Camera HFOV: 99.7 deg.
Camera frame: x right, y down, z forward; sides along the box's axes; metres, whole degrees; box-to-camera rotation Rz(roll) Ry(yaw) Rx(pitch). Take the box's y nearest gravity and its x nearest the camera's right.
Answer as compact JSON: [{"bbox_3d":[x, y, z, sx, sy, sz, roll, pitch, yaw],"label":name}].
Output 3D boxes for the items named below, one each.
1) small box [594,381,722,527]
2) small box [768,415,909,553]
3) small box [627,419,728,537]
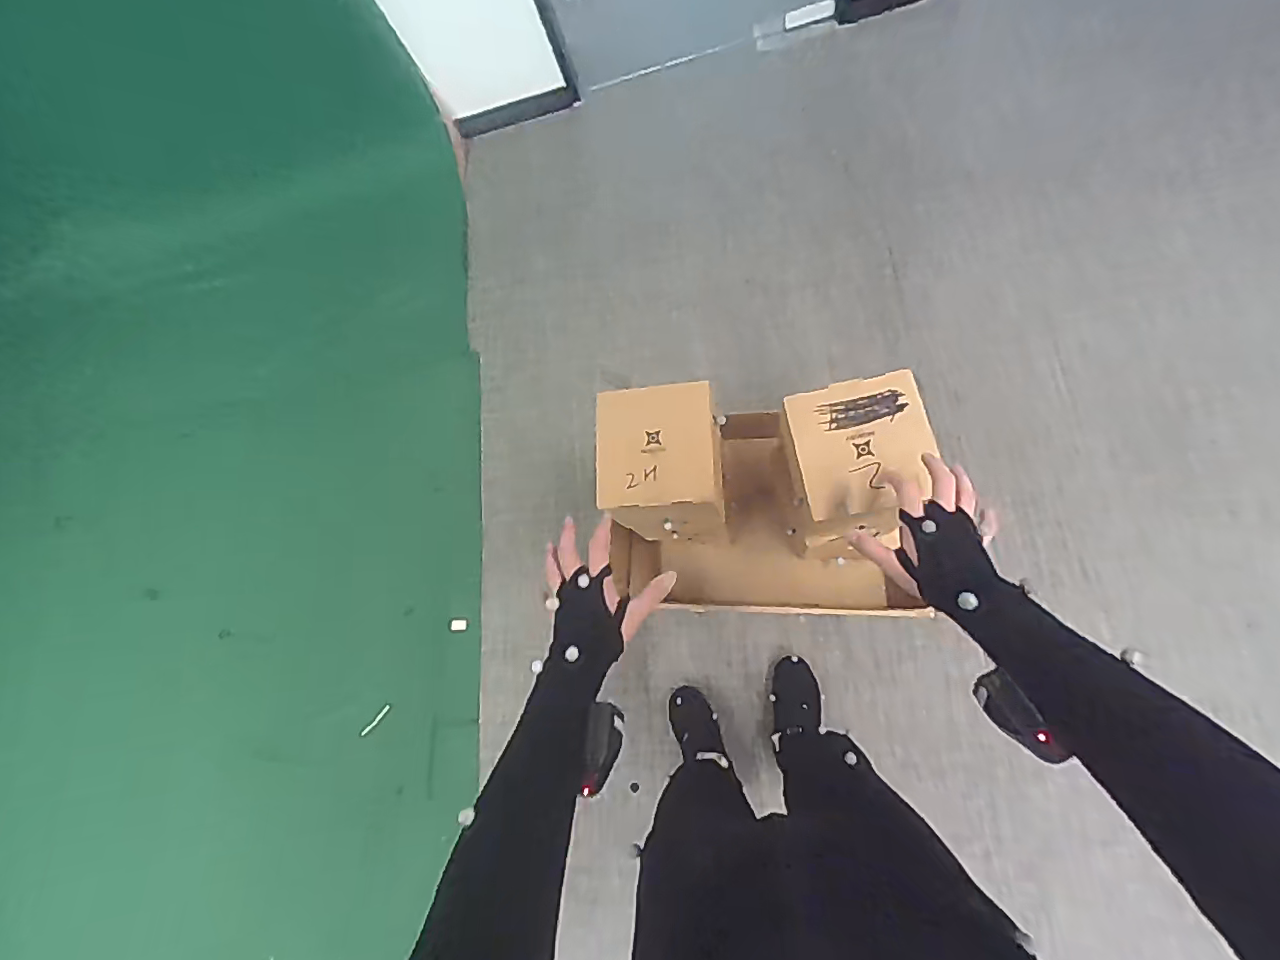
[{"bbox_3d":[0.033,-0.031,0.829,0.168,0.176,0.179,-4,75,13],"label":"small box"},{"bbox_3d":[0.325,0.019,0.915,0.168,0.176,0.179,-19,71,9],"label":"small box"},{"bbox_3d":[0.069,0.003,0.985,0.168,0.176,0.179,-4,75,13],"label":"small box"}]
